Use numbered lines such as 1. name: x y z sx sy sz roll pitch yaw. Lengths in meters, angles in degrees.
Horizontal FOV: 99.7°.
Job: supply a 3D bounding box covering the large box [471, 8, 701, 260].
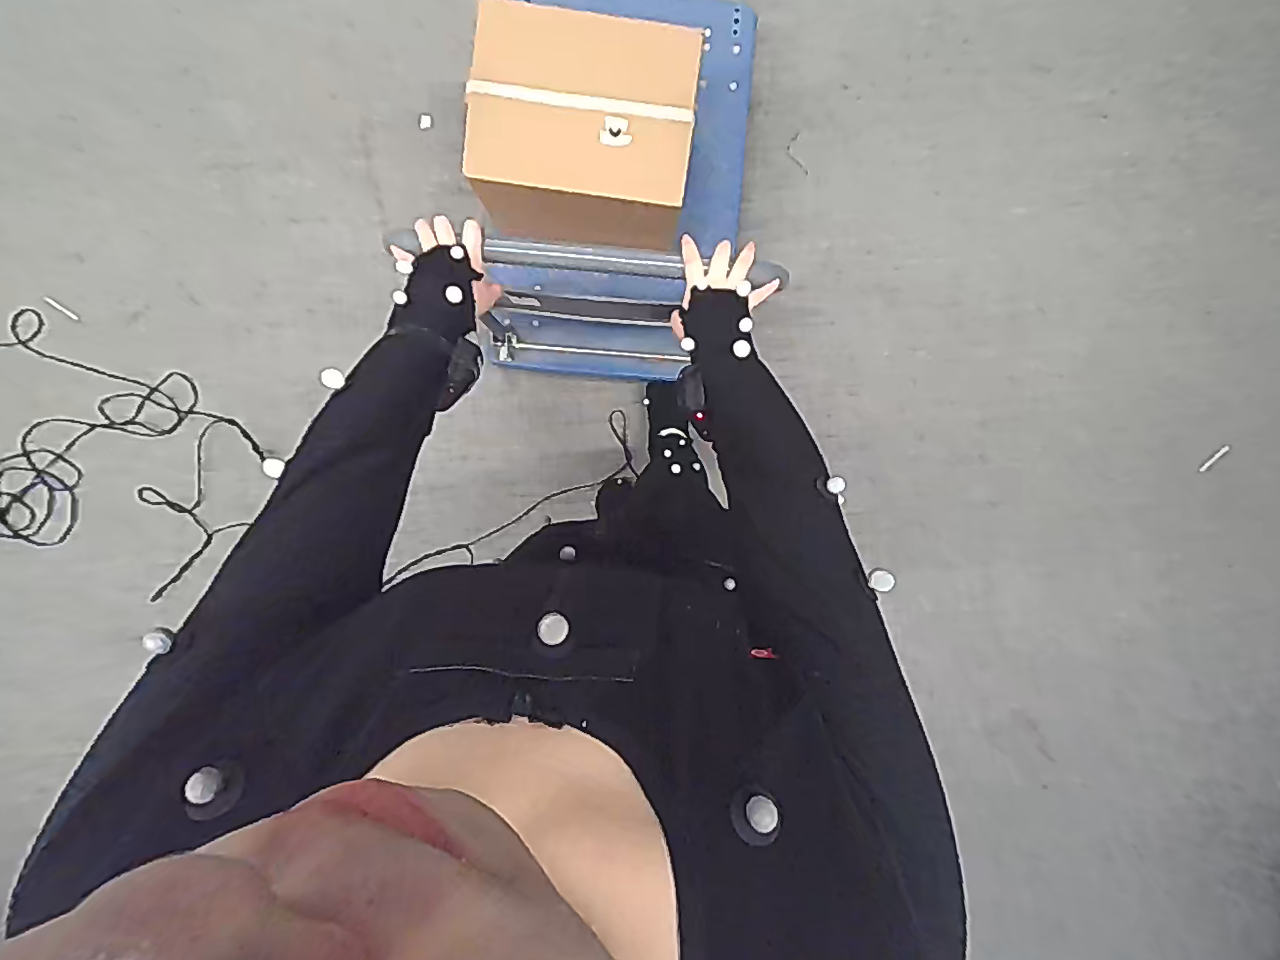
1. large box: -0.107 -0.691 1.141 0.408 0.320 0.320 7 94 -2
